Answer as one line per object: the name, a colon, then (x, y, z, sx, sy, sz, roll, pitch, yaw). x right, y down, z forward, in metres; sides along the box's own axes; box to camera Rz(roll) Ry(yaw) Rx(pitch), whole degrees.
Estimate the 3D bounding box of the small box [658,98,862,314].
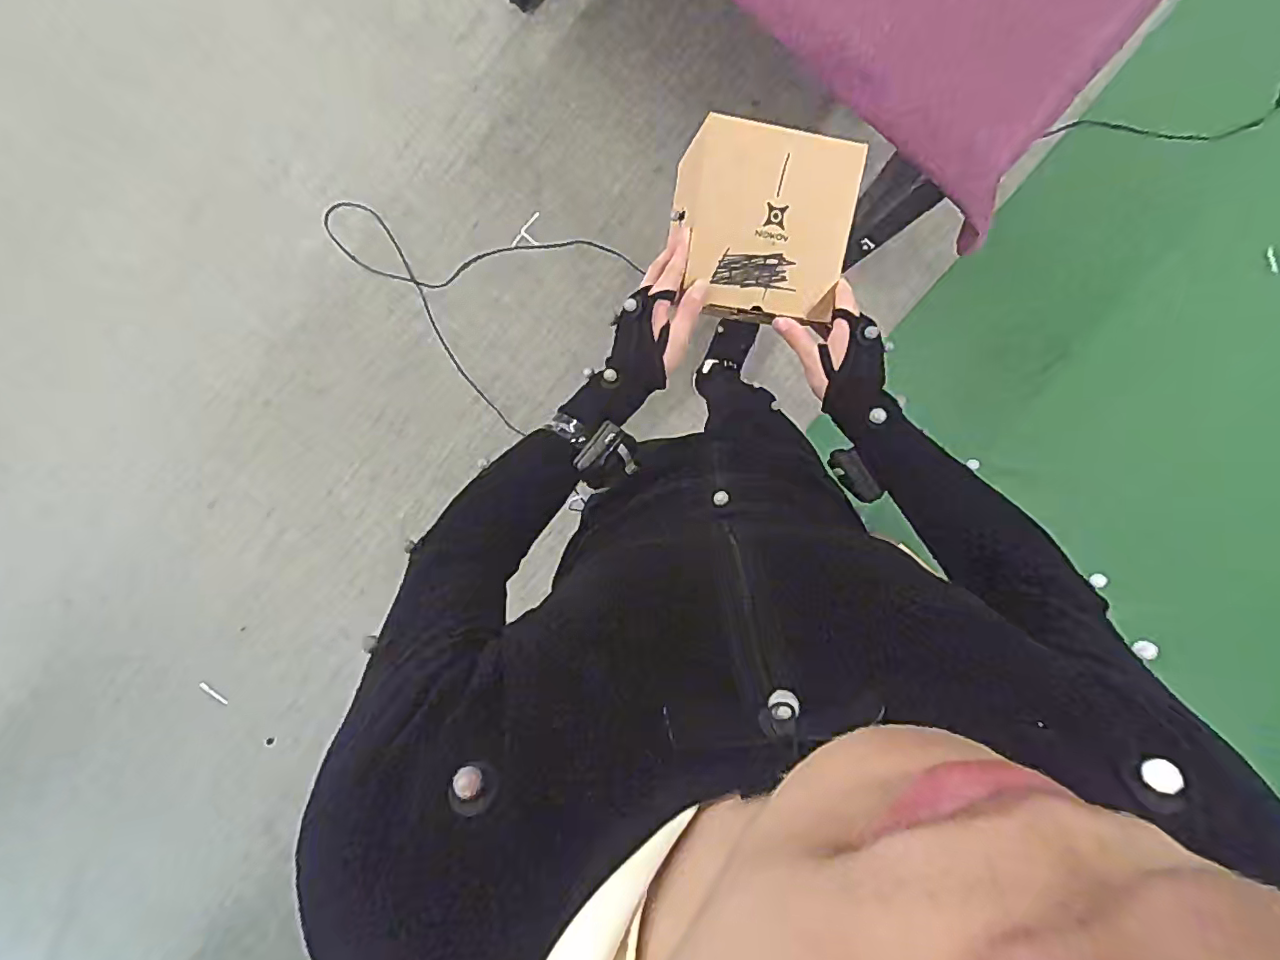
small box: (0.118, -0.290, 0.617, 0.168, 0.176, 0.179, 6, 104, -9)
